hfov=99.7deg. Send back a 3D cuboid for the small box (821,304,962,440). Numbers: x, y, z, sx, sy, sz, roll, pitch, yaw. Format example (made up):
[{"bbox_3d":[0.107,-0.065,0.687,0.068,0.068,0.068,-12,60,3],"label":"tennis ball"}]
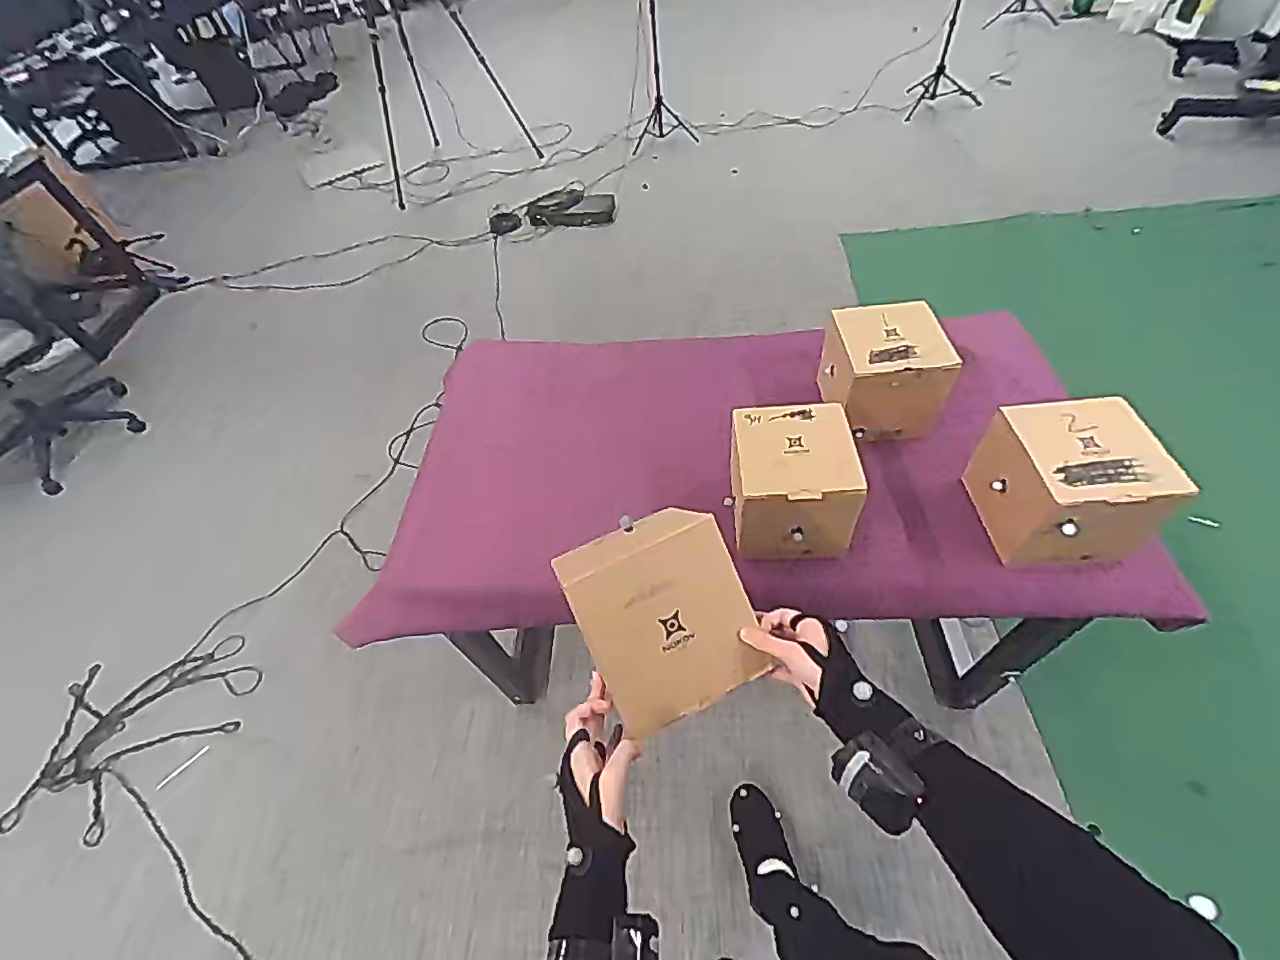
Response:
[{"bbox_3d":[0.429,-0.183,0.955,0.168,0.176,0.179,-4,51,5],"label":"small box"}]

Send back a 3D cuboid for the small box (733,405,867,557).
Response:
[{"bbox_3d":[0.232,0.008,0.830,0.168,0.176,0.179,-2,51,6],"label":"small box"}]

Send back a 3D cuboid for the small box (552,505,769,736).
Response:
[{"bbox_3d":[0.012,0.138,0.606,0.168,0.176,0.179,-23,95,-13],"label":"small box"}]
